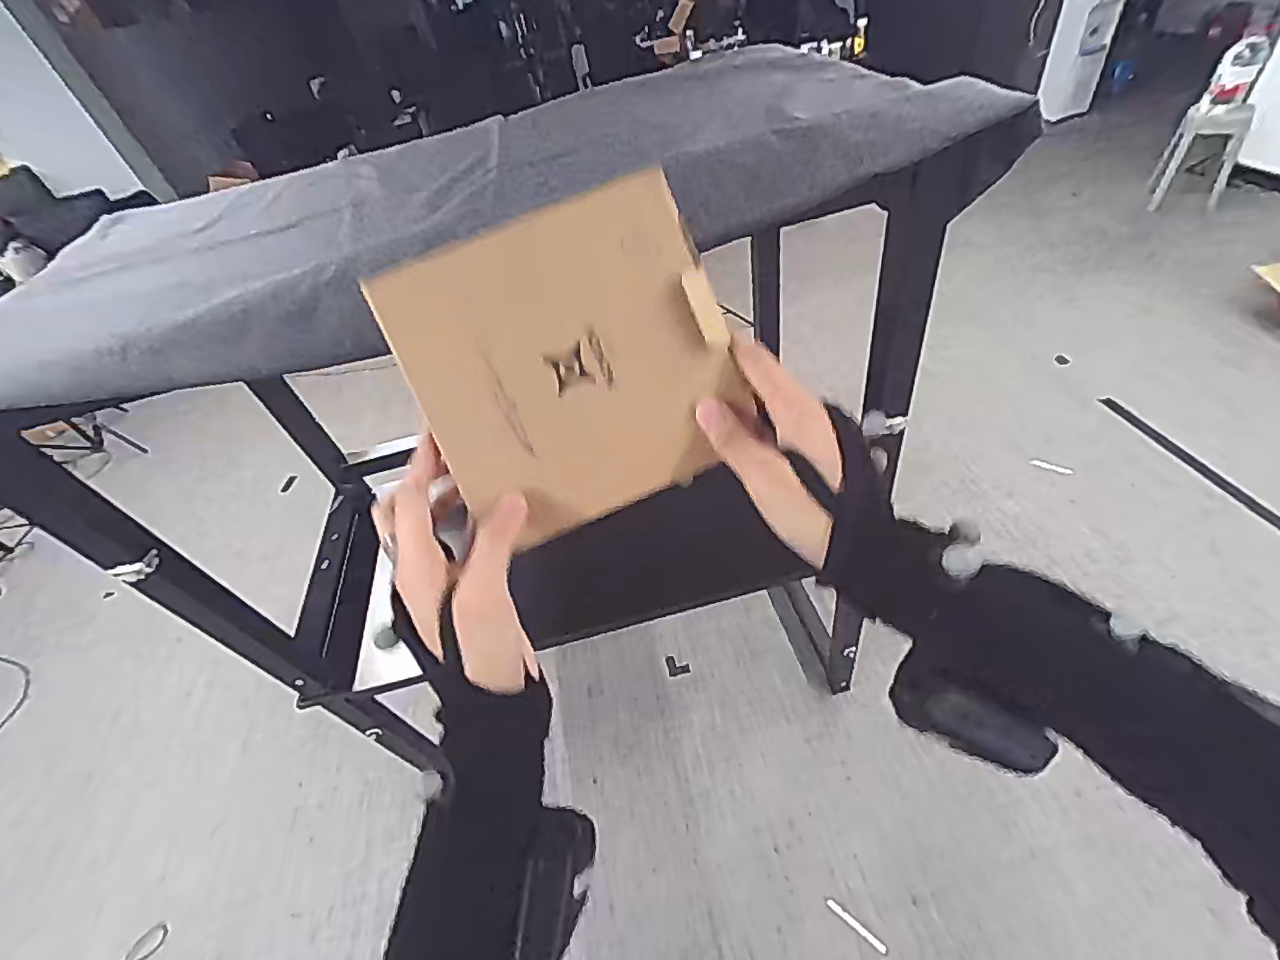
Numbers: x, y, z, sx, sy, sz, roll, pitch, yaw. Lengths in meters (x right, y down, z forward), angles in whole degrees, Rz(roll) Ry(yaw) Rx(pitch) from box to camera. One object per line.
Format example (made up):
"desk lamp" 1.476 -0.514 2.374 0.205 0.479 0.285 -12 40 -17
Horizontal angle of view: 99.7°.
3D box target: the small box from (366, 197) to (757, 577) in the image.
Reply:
"small box" -0.048 -0.057 0.383 0.179 0.168 0.176 -24 5 -4
